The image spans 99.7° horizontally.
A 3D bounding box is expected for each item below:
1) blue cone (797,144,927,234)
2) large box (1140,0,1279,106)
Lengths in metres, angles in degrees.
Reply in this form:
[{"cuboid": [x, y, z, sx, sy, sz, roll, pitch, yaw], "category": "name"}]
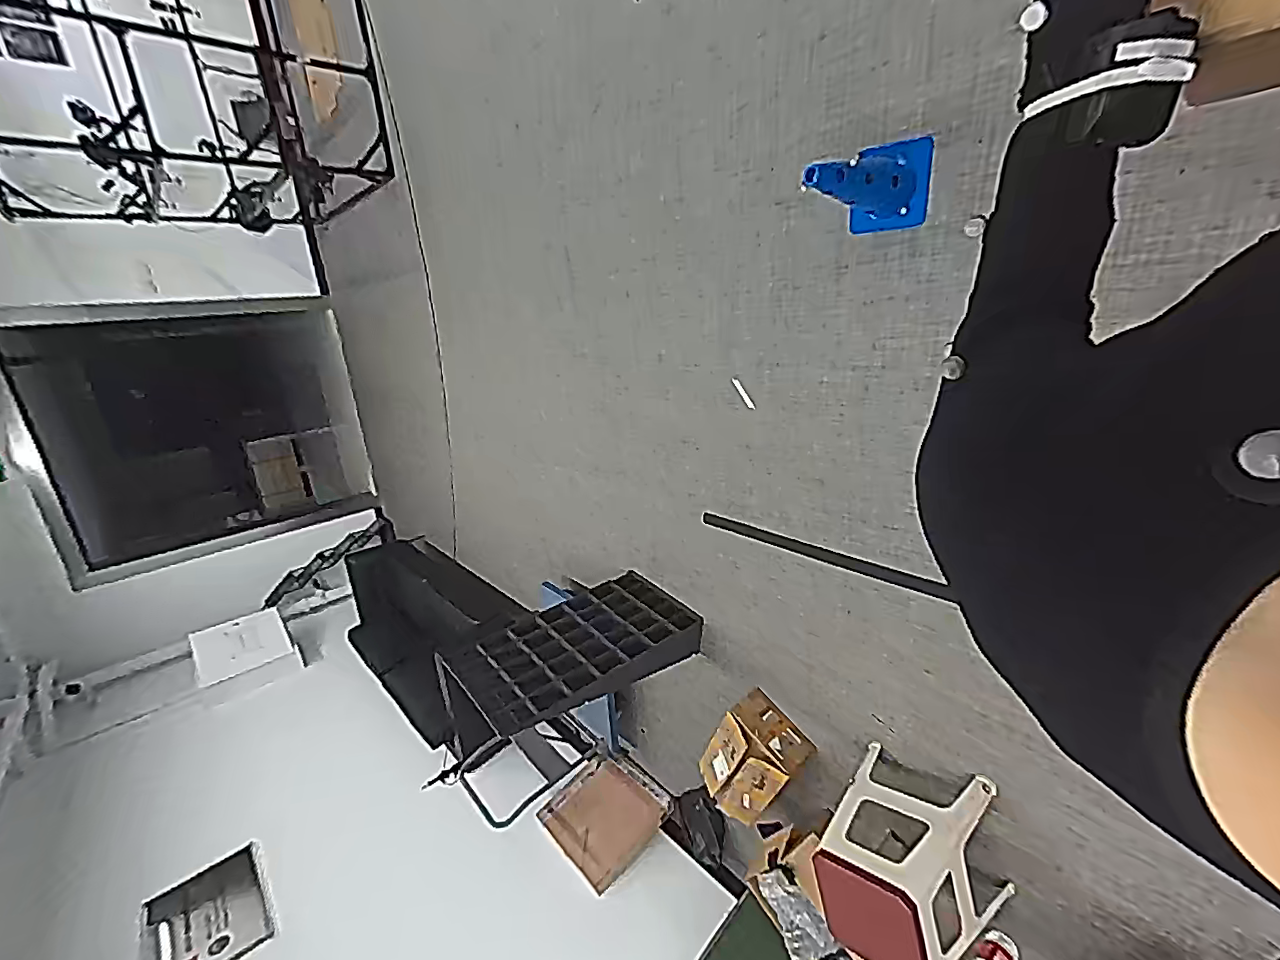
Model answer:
[{"cuboid": [0.505, -0.700, 1.282, 0.192, 0.380, 0.193, 21, 120, 46], "category": "blue cone"}, {"cuboid": [0.555, -0.443, 0.266, 0.408, 0.320, 0.320, 13, 119, 46], "category": "large box"}]
